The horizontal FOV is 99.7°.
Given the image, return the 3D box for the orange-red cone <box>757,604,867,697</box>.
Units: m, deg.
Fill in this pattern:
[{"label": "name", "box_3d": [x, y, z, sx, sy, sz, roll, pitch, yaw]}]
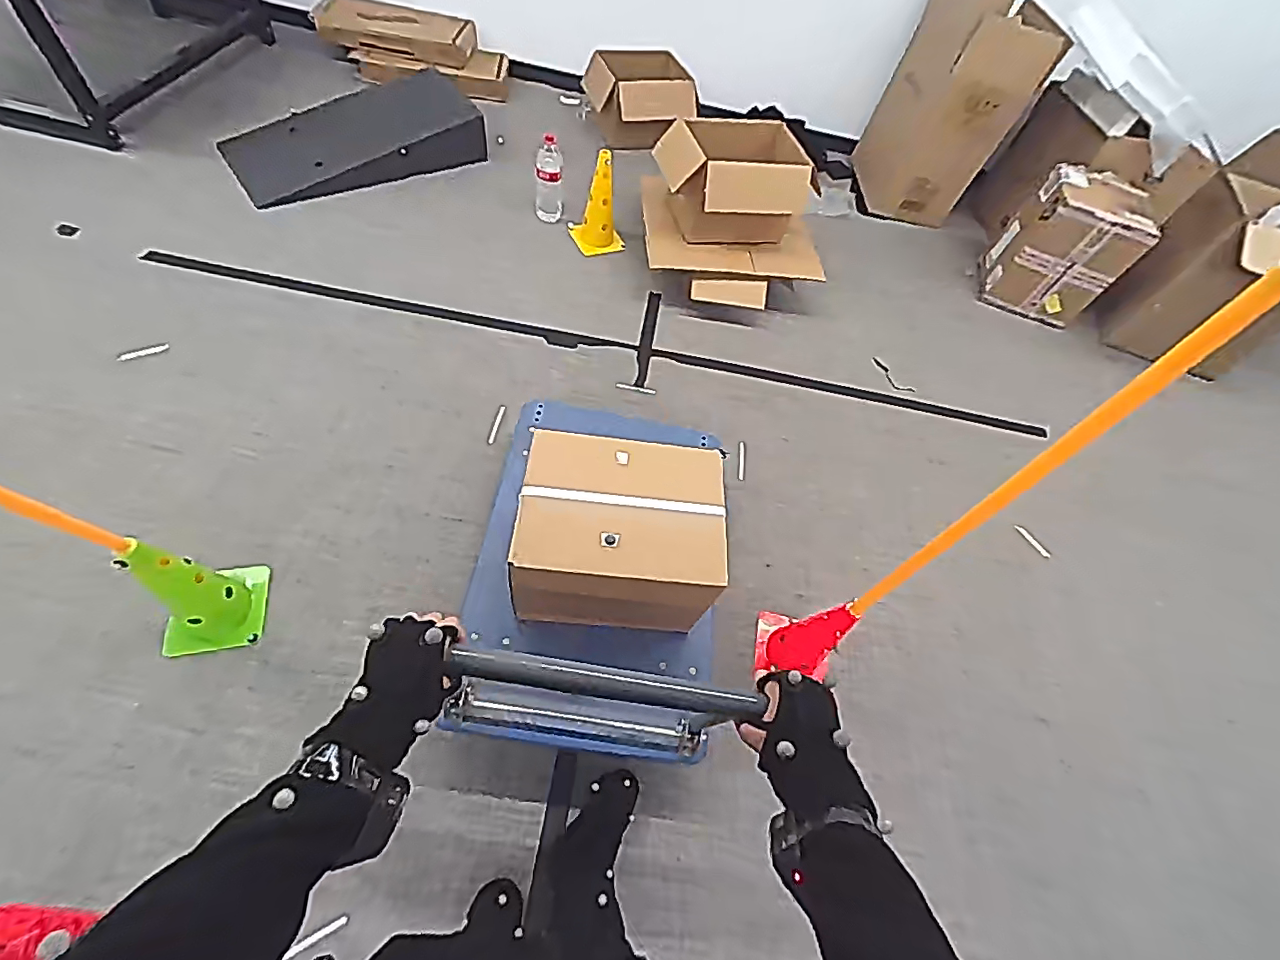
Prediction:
[{"label": "orange-red cone", "box_3d": [0.447, 0.375, 1.314, 0.199, 0.360, 0.198, 17, 57, -1]}]
